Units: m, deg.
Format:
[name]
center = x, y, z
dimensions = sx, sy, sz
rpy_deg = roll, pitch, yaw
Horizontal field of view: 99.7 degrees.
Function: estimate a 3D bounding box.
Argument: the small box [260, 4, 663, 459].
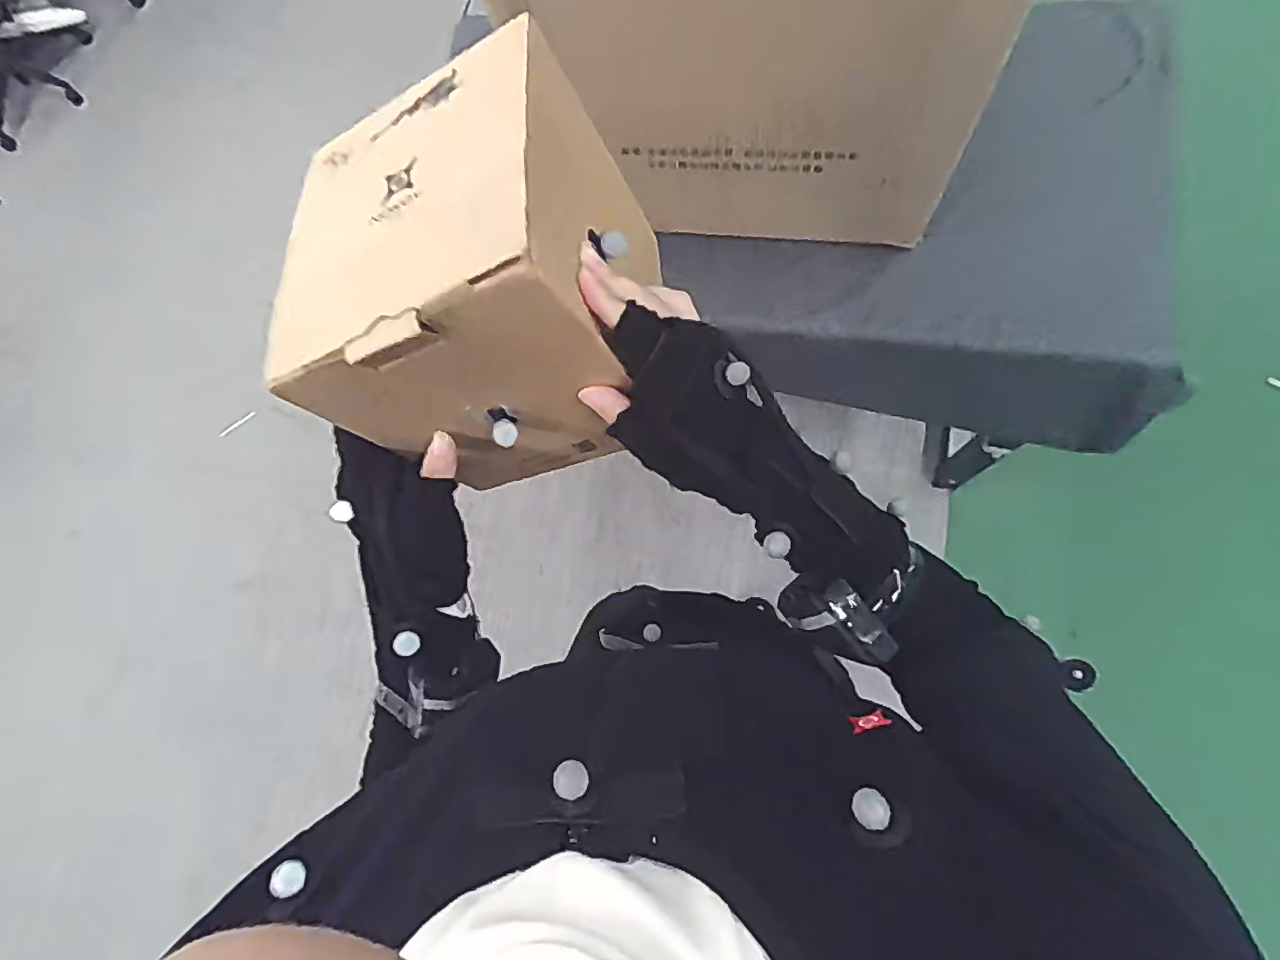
[small box]
center = -0.094, -0.125, 0.346
dimensions = 0.168, 0.176, 0.179
rpy_deg = -14, 66, 21
